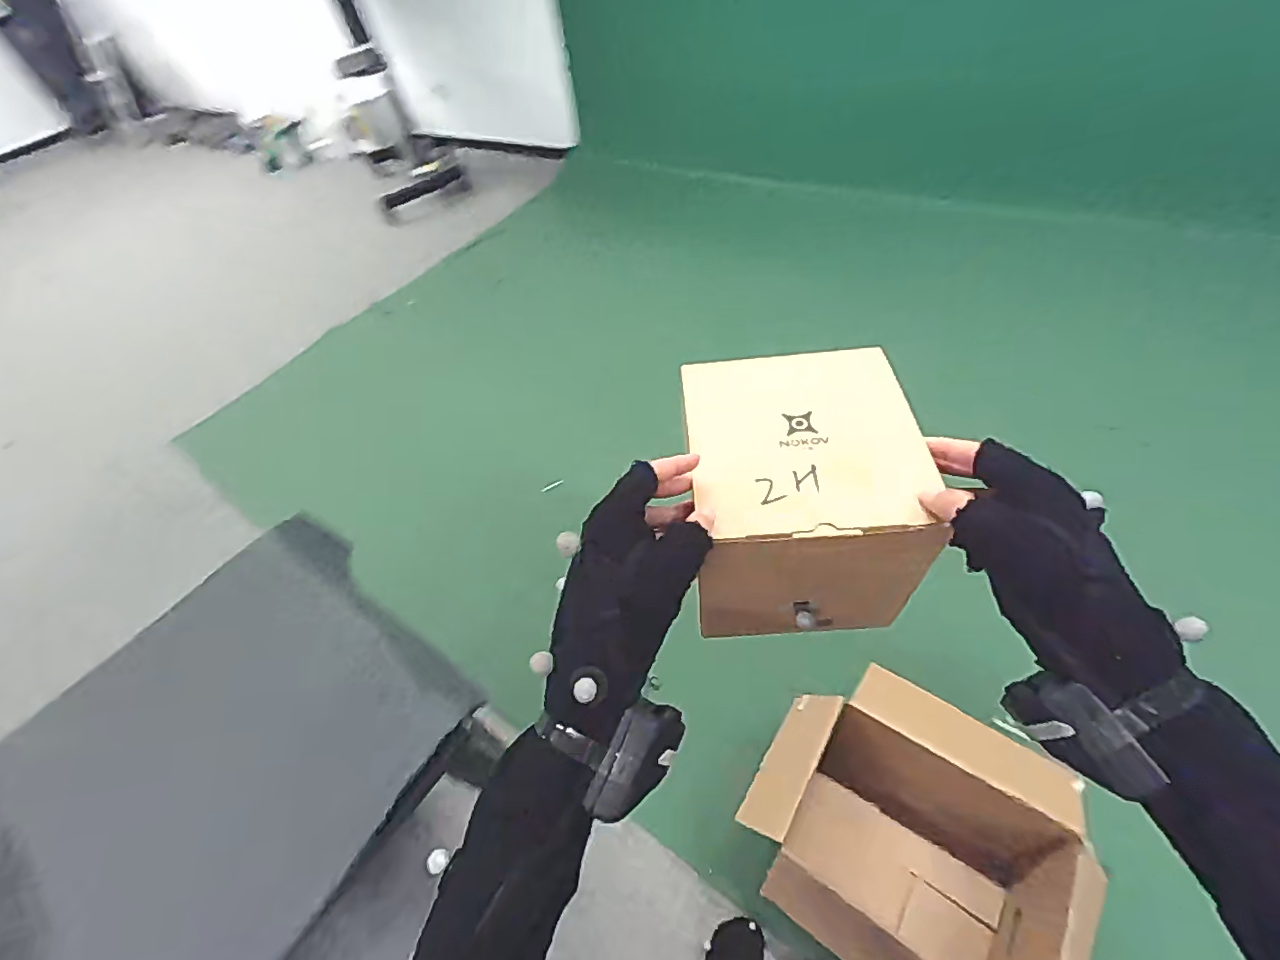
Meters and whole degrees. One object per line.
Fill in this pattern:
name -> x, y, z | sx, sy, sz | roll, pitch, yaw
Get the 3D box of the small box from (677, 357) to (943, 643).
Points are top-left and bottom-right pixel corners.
small box -> 0.121, 0.020, 0.466 | 0.168, 0.176, 0.179 | -6, 51, 4
